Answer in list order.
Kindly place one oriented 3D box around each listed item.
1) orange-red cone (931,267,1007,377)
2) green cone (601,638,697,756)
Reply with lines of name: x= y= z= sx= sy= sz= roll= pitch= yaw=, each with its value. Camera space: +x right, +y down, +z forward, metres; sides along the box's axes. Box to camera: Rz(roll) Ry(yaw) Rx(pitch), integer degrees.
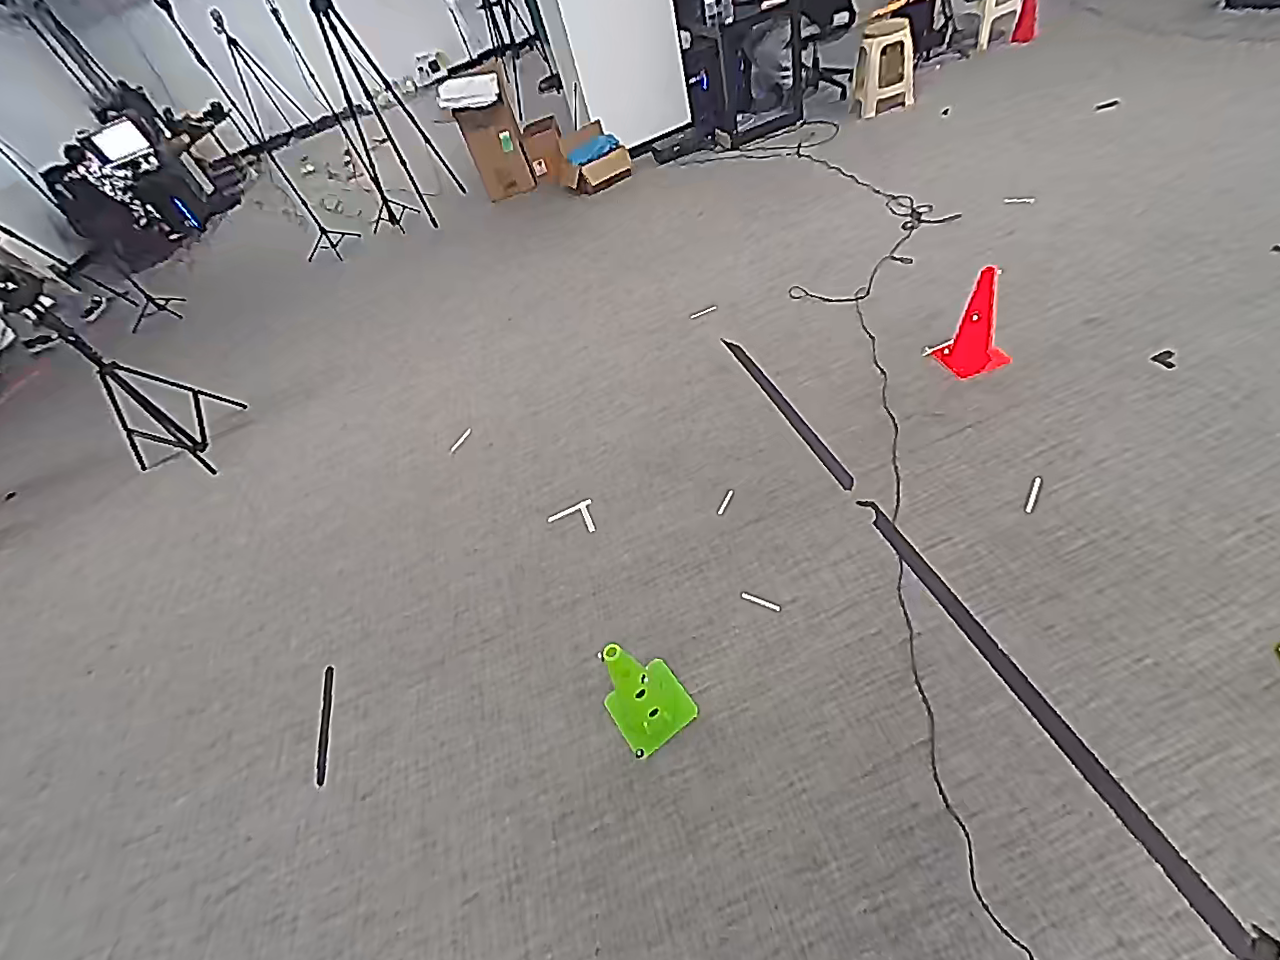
orange-red cone: x=1.175 y=-0.571 z=1.885 sx=0.198 sy=0.360 sz=0.199 roll=-18 pitch=47 yaw=4
green cone: x=-0.017 y=0.494 z=1.339 sx=0.200 sy=0.368 sz=0.202 roll=-34 pitch=46 yaw=-13
